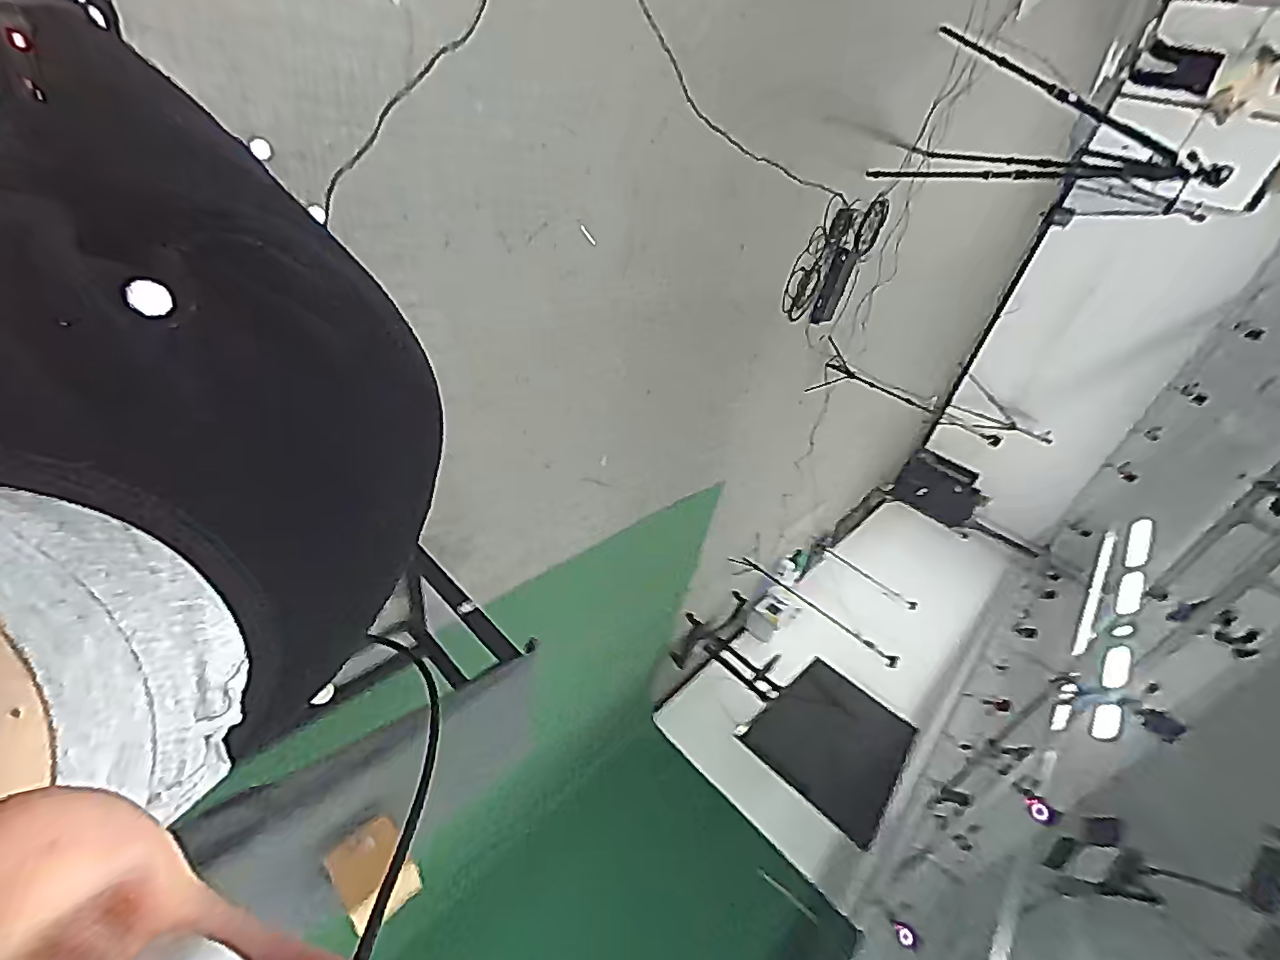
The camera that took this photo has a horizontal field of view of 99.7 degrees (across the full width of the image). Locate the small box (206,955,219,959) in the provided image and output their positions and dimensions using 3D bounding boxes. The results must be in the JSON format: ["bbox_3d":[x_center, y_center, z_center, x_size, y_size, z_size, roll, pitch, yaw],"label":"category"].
[{"bbox_3d":[-0.987,1.201,1.181,0.168,0.176,0.179,-26,140,-42],"label":"small box"}]

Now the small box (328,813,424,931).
[{"bbox_3d":[-0.705,1.043,1.450,0.168,0.176,0.179,-29,141,-41],"label":"small box"}]
